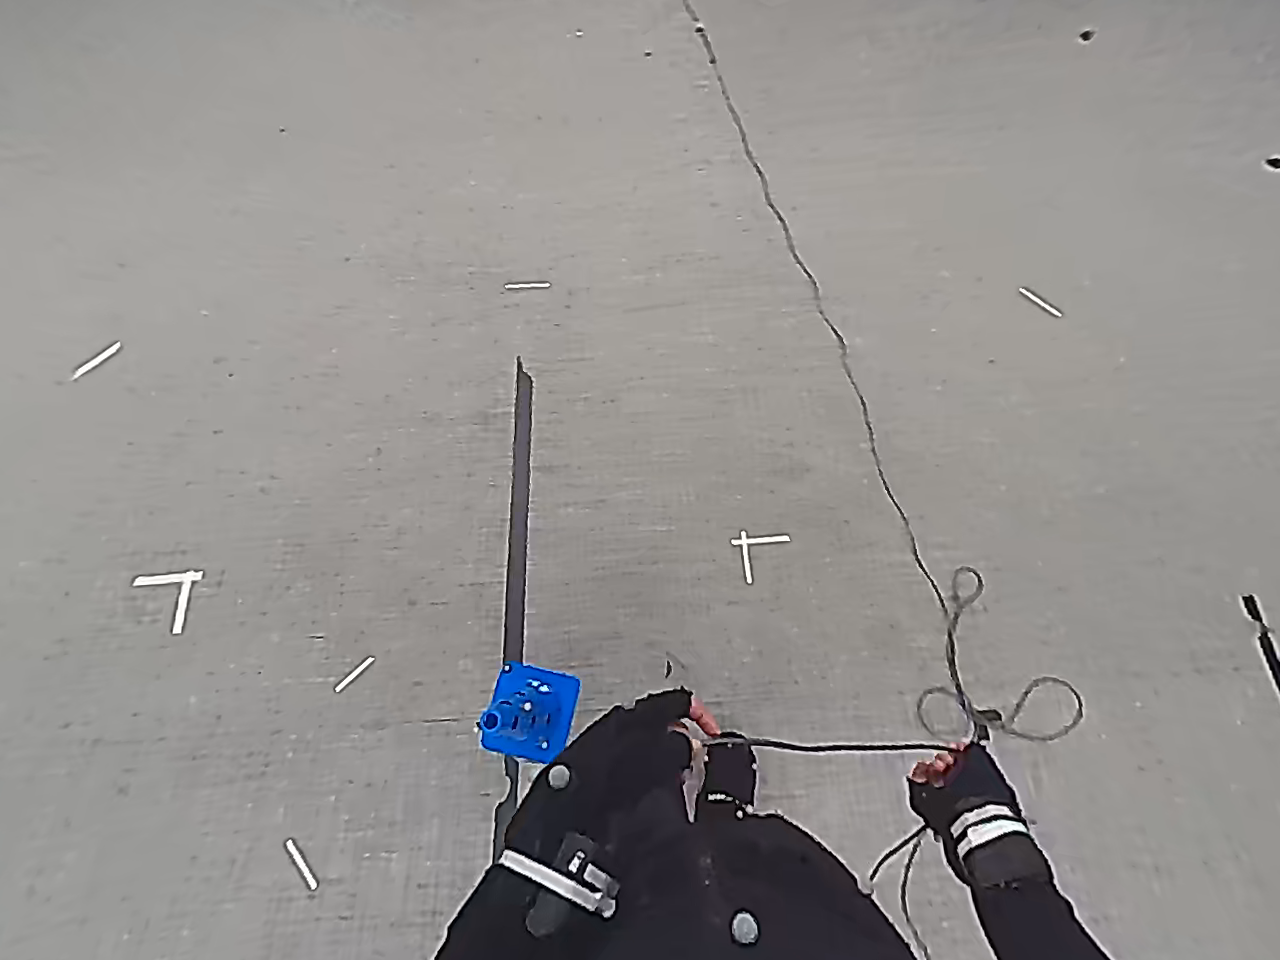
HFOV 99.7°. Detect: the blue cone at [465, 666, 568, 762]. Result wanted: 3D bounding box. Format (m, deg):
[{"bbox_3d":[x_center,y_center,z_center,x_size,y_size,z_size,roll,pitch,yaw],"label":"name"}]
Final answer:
[{"bbox_3d":[-0.280,0.496,1.132,0.192,0.380,0.193,12,70,6],"label":"blue cone"}]
